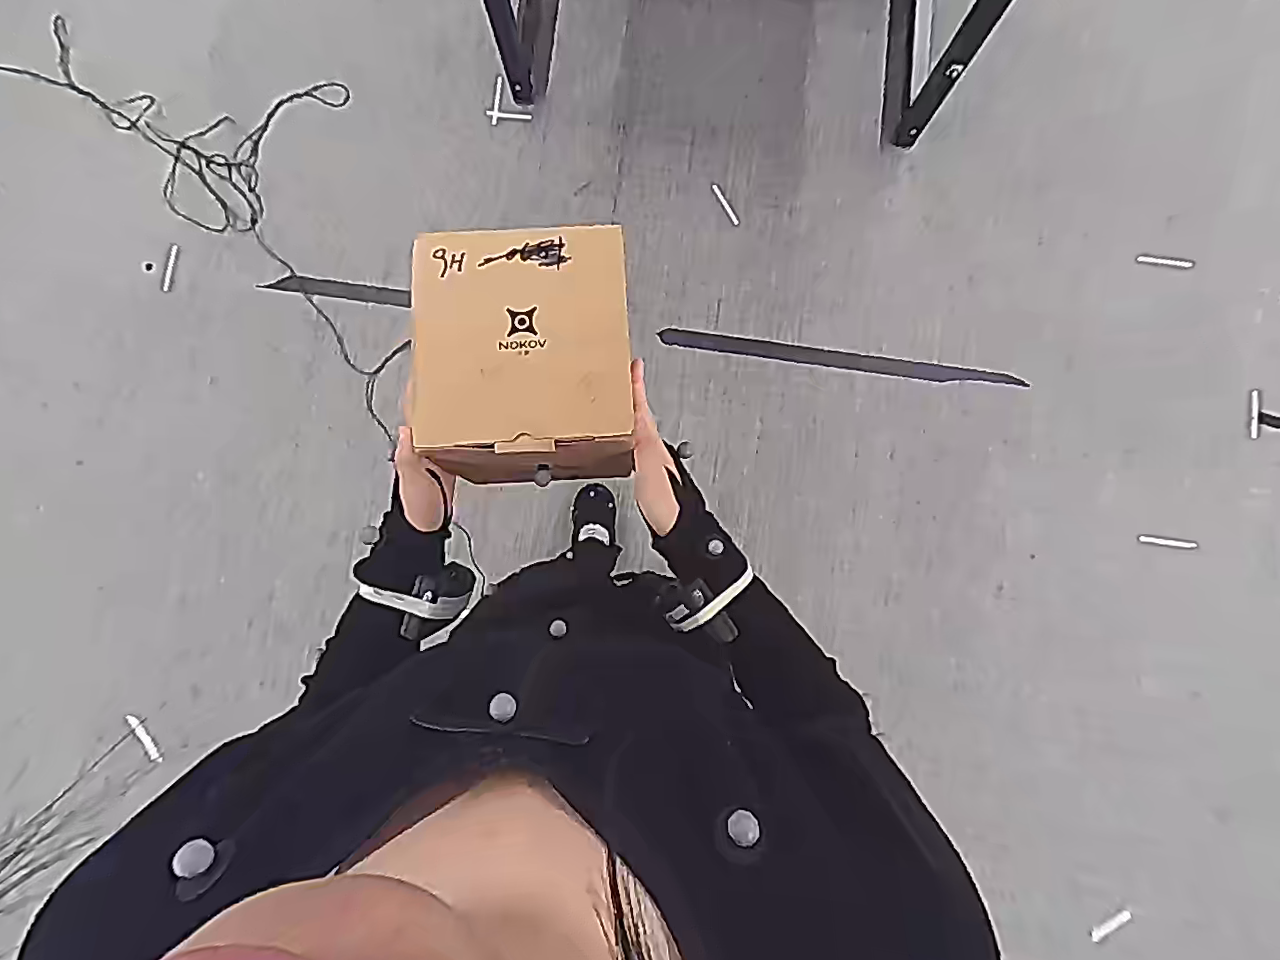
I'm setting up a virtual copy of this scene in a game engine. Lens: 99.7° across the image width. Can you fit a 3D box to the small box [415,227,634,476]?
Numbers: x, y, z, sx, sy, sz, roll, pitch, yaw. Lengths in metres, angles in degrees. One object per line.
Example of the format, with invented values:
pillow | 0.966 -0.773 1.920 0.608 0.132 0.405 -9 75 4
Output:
small box | -0.091 -0.100 0.493 0.168 0.176 0.179 -3 82 -2
